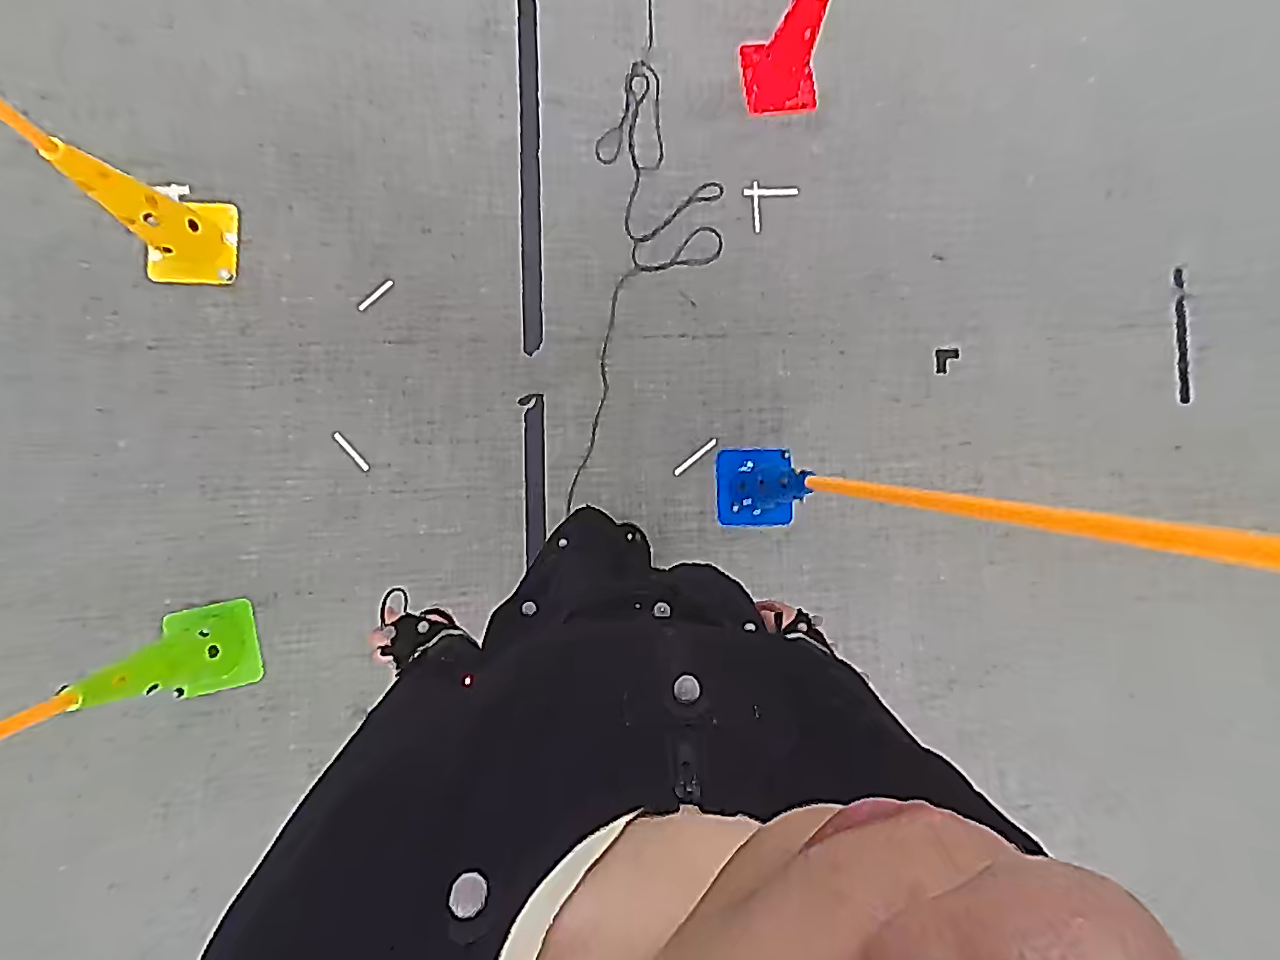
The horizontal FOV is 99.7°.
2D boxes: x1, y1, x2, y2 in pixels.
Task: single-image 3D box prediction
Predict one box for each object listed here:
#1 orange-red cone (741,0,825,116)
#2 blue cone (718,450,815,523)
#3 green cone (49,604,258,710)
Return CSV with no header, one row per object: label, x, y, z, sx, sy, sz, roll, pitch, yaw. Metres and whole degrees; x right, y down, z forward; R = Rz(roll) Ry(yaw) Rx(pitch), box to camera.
orange-red cone,0.391,-1.101,1.303,0.199,0.360,0.198,-7,87,-4
blue cone,0.313,0.006,1.246,0.193,0.380,0.192,1,86,-6
green cone,-0.988,0.388,1.089,0.200,0.368,0.202,-12,86,-6
